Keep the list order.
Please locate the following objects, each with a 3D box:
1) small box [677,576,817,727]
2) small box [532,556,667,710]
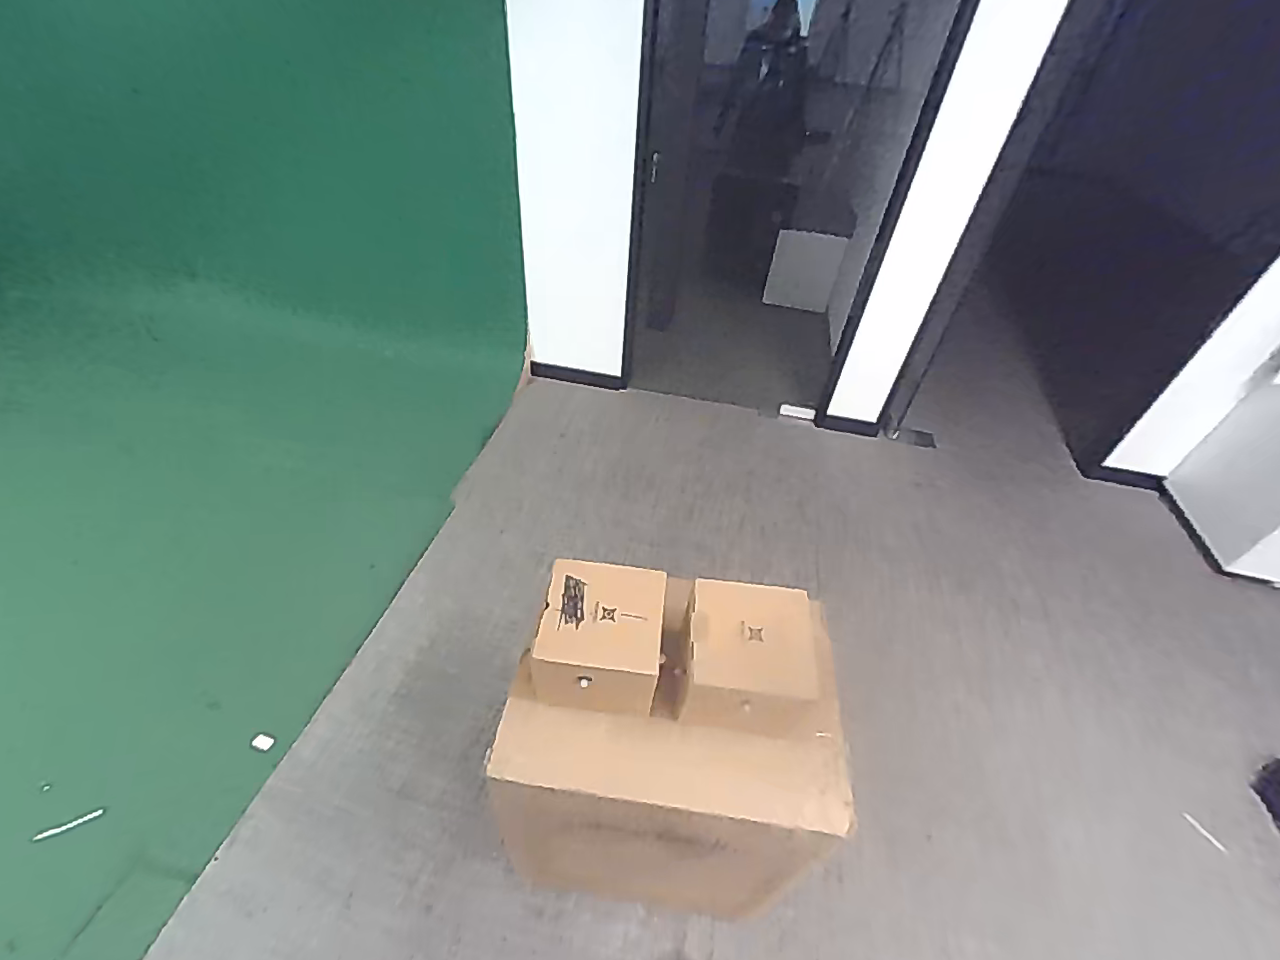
[{"bbox_3d":[0.154,0.270,0.840,0.179,0.176,0.168,7,49,-1],"label":"small box"},{"bbox_3d":[-0.058,0.241,0.844,0.179,0.176,0.168,8,48,1],"label":"small box"}]
